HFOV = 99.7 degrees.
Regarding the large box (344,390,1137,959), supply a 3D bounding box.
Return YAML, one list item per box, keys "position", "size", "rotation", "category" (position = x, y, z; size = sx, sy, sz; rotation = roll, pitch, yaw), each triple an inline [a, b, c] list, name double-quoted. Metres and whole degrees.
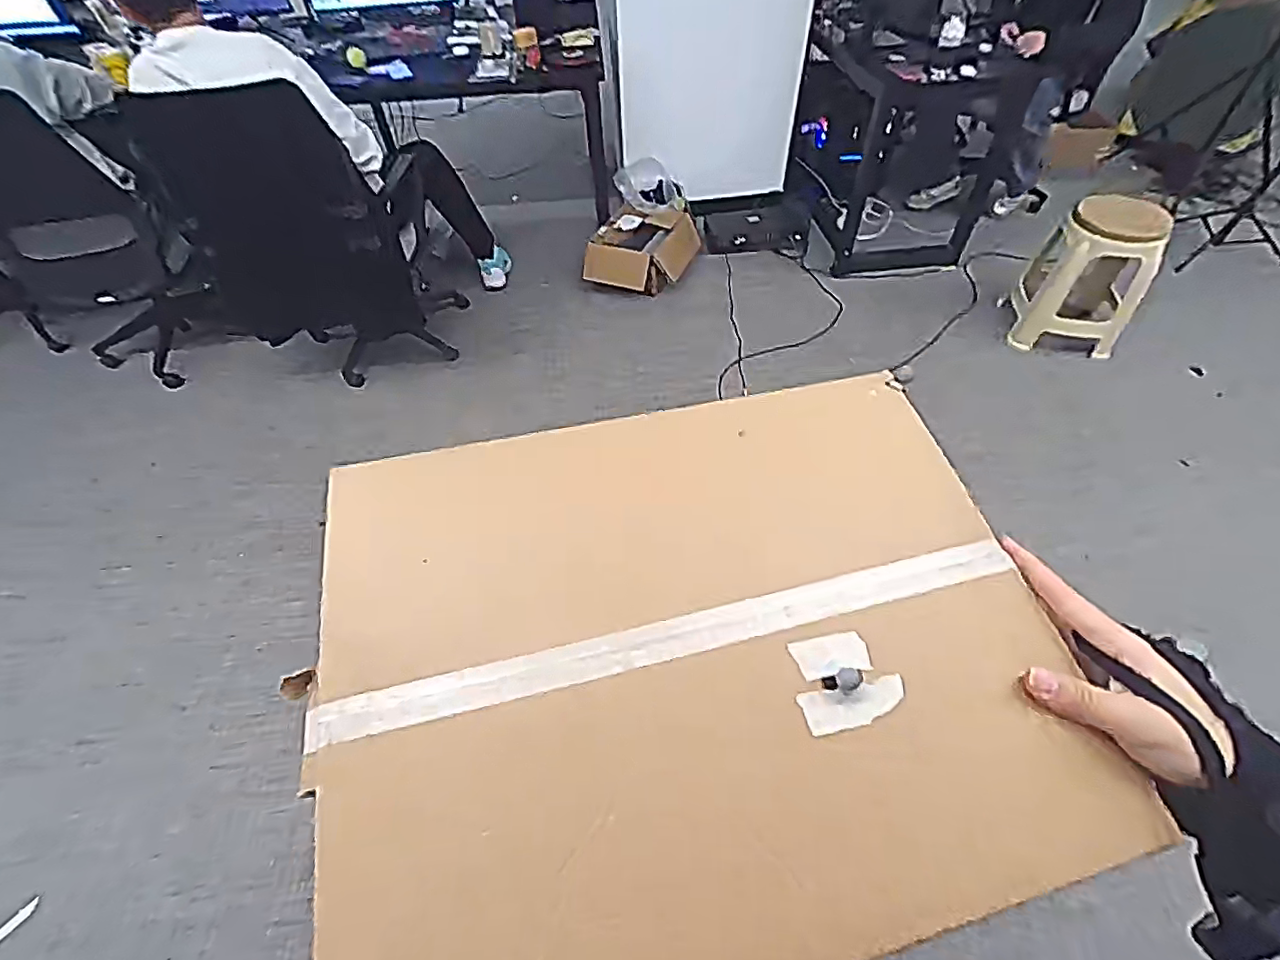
- position: [0.025, 0.171, 0.447]
  size: [0.408, 0.320, 0.320]
  rotation: [-11, 62, -11]
  category: "large box"
